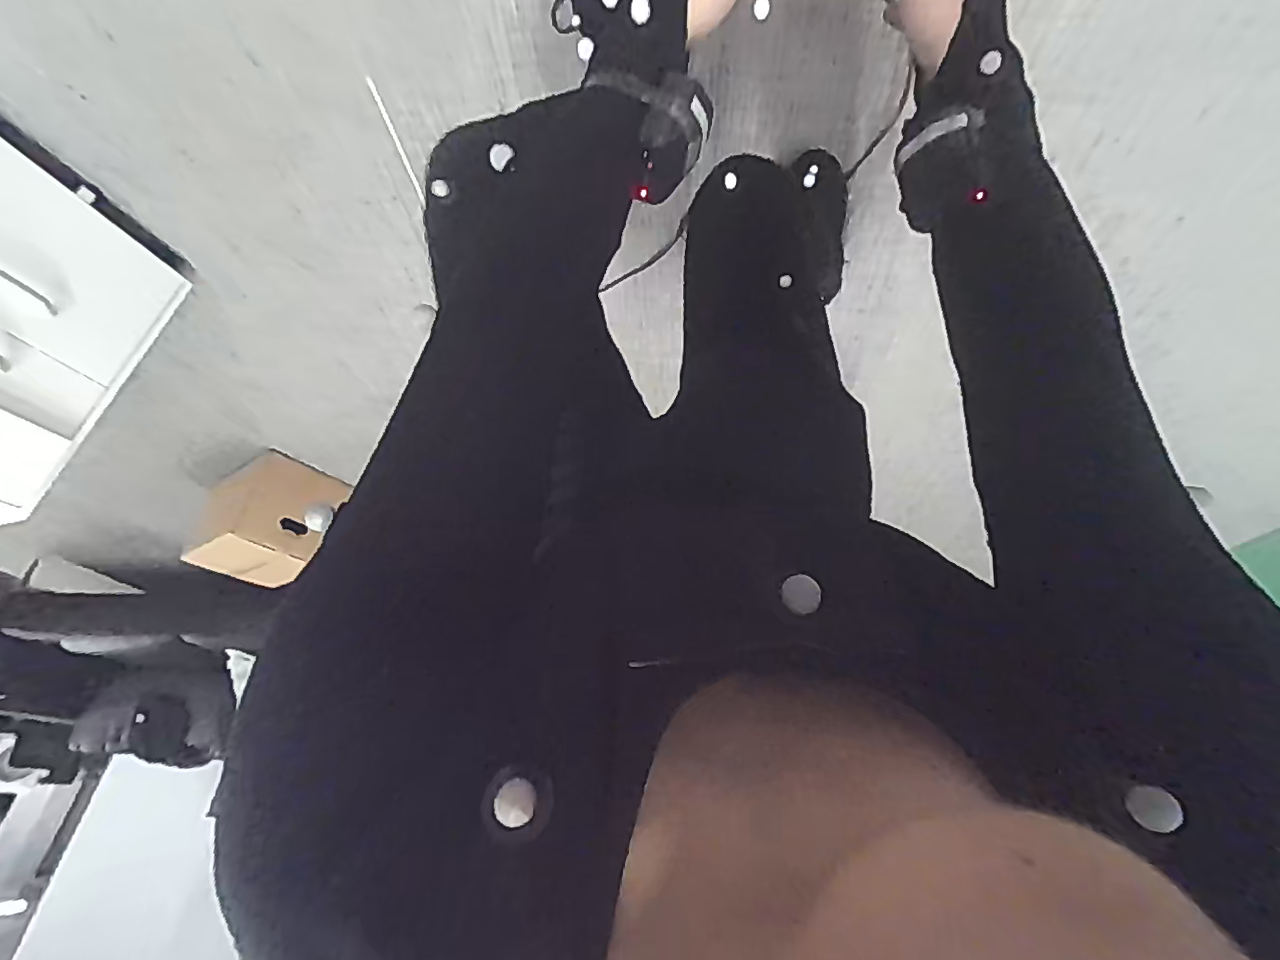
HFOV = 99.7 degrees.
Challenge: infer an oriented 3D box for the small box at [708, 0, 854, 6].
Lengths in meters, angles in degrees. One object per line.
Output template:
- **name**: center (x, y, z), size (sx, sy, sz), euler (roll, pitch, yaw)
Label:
- **small box**: center (0.133, -0.510, 0.444), size (0.168, 0.176, 0.179), euler (2, 127, 5)
